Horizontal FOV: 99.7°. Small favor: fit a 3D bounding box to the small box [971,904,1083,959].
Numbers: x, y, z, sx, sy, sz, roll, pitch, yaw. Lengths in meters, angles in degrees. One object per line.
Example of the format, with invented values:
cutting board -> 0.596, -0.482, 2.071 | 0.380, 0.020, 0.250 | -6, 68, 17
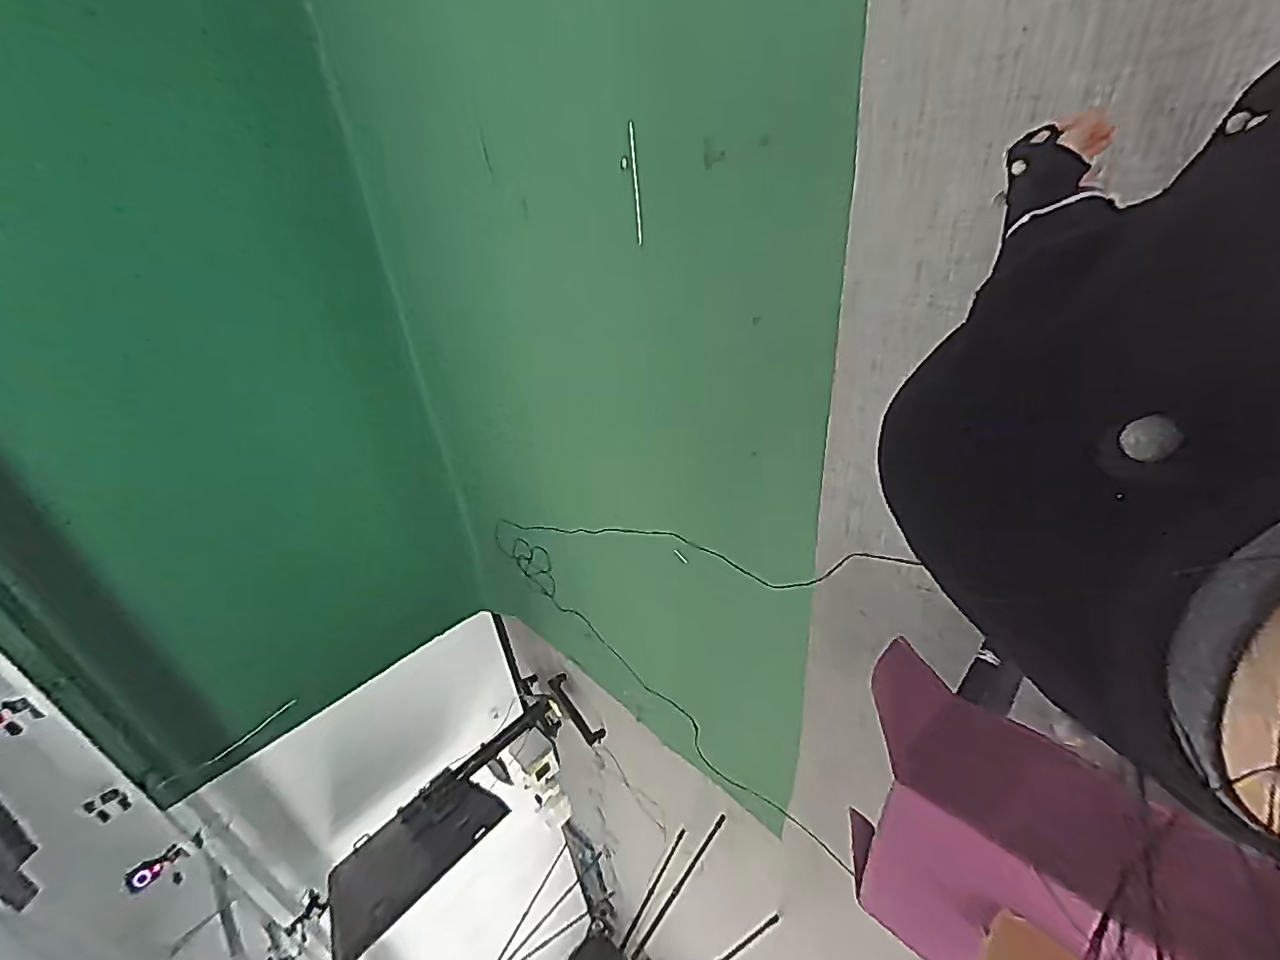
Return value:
small box -> 0.733, 0.965, 1.016 | 0.179, 0.176, 0.168 | 26, 133, 39
